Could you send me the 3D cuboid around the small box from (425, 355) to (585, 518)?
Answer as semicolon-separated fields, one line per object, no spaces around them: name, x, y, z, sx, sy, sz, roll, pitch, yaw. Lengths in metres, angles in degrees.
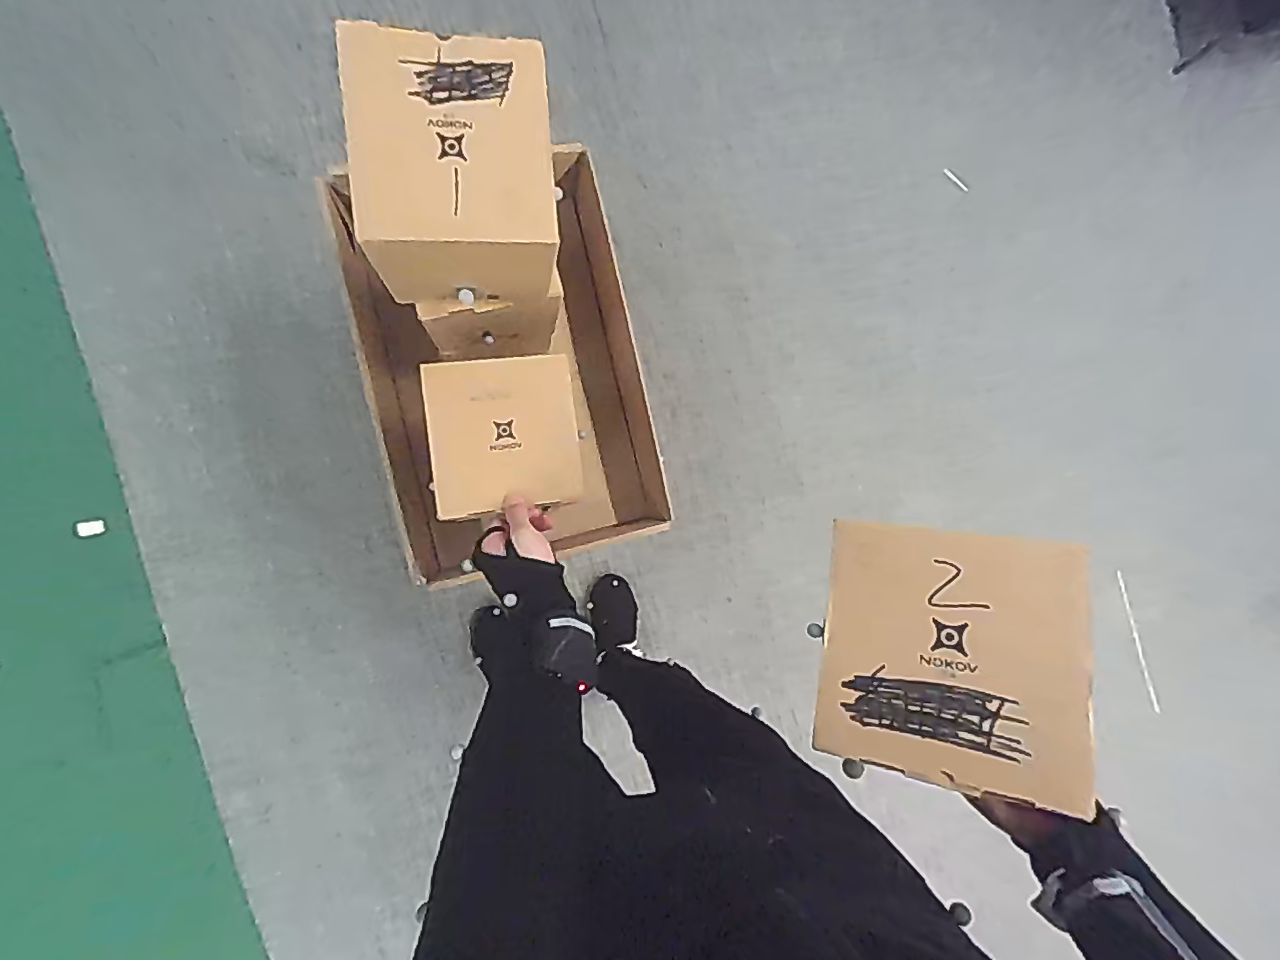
small box;-0.167;-0.047;0.691;0.168;0.176;0.179;-7;86;-12

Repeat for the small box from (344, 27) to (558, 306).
small box;-0.175;-0.287;0.536;0.168;0.176;0.179;-5;91;-12

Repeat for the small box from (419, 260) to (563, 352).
small box;-0.205;-0.282;0.698;0.168;0.176;0.179;-14;93;-13

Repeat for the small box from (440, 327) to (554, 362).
small box;-0.239;-0.282;0.856;0.168;0.176;0.179;-14;92;-11
